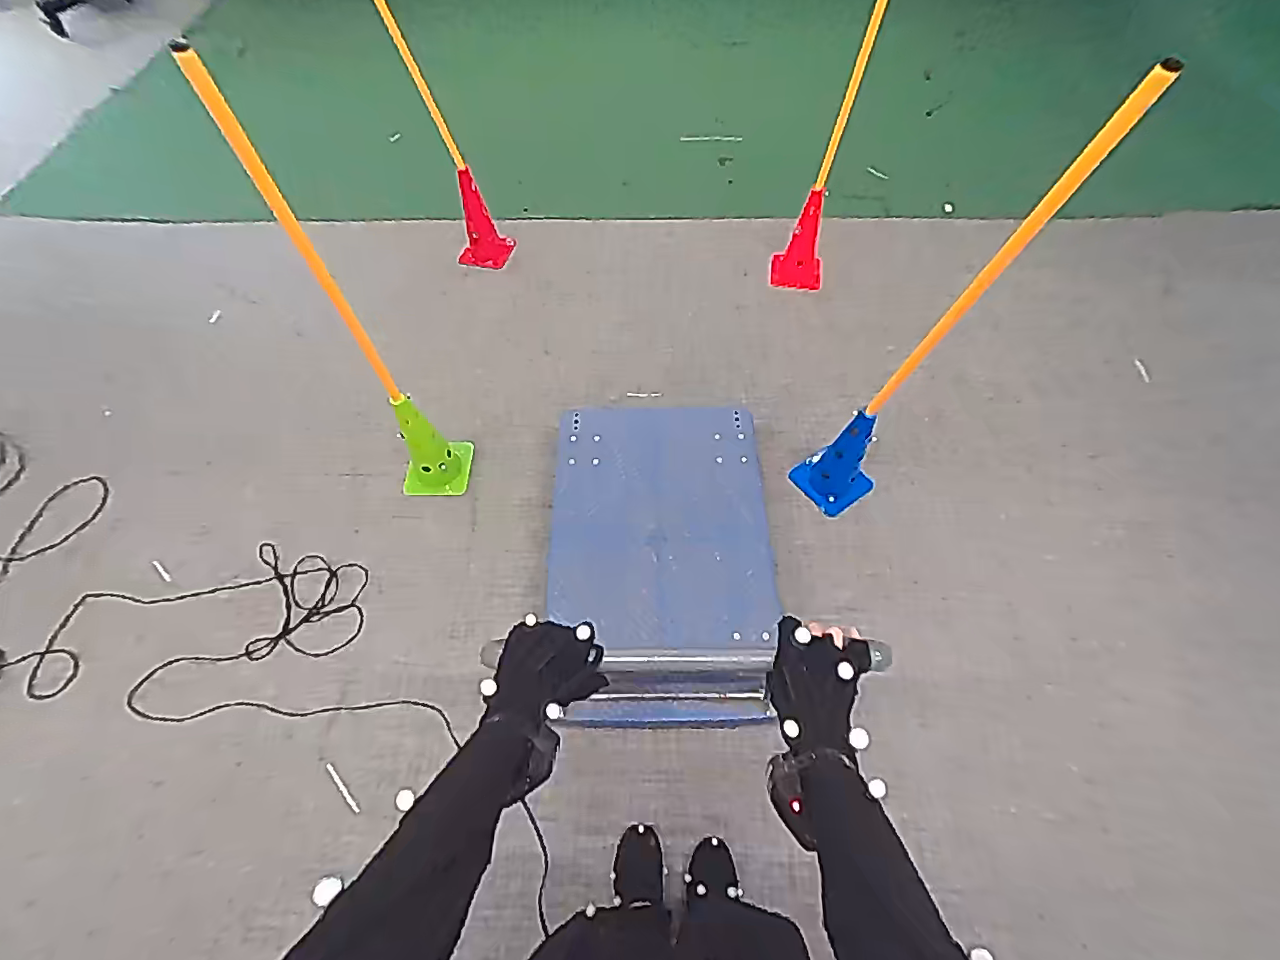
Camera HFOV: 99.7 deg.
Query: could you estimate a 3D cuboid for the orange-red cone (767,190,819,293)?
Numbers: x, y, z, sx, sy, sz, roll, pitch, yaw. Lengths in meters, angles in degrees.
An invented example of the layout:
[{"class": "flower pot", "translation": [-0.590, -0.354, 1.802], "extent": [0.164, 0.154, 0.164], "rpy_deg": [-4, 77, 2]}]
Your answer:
[{"class": "orange-red cone", "translation": [0.620, -0.921, 2.057], "extent": [0.198, 0.360, 0.199], "rpy_deg": [10, 60, 8]}]
